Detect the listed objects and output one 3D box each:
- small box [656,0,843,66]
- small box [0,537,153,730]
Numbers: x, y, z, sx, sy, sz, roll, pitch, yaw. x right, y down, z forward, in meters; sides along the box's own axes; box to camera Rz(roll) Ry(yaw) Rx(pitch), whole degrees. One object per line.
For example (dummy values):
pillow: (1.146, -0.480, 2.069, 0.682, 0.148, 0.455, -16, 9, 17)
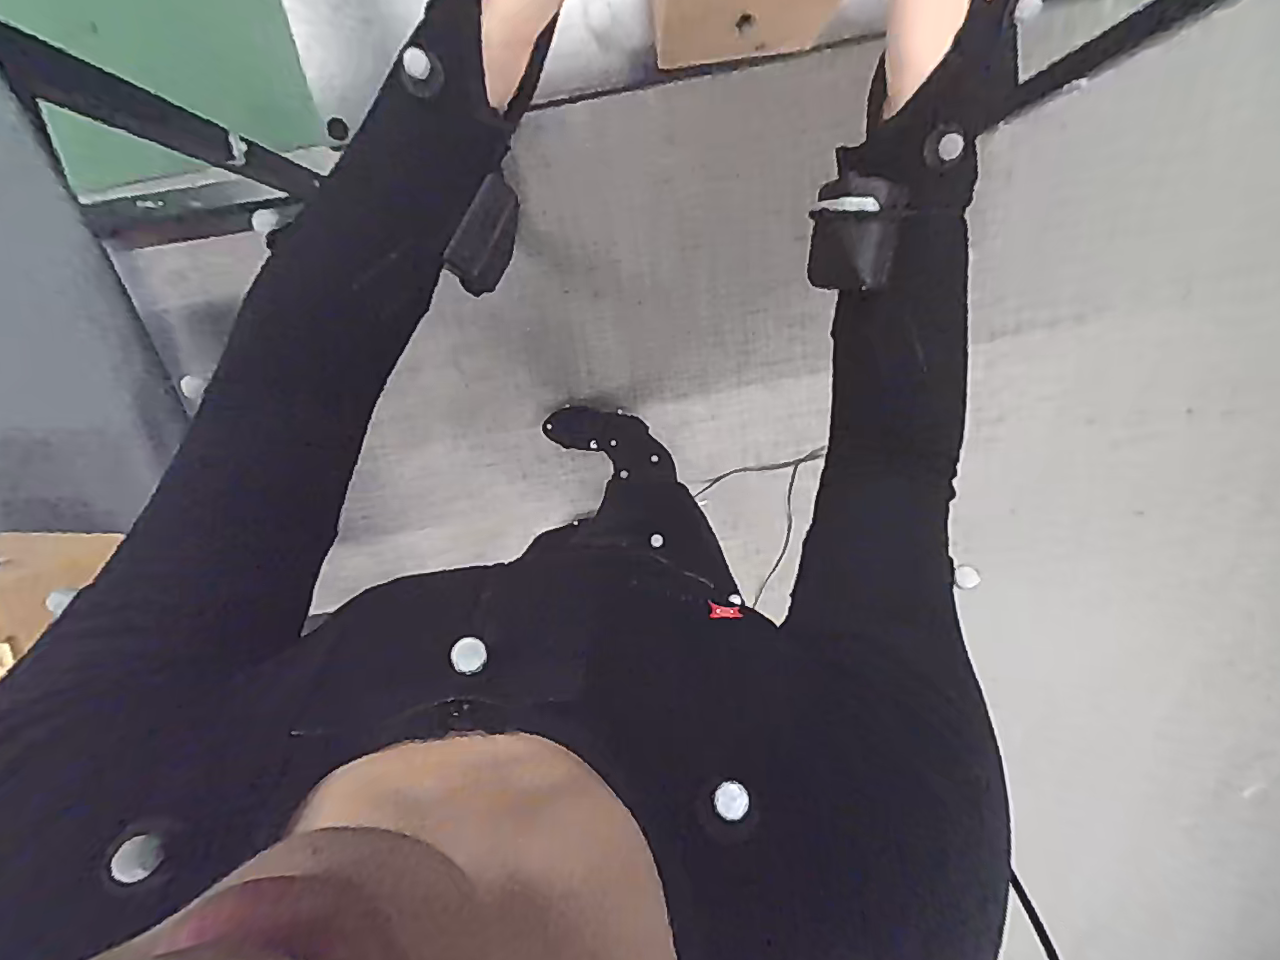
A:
small box: (0.099, -0.504, 0.480, 0.168, 0.176, 0.179, -7, 105, 0)
small box: (-0.743, 0.174, 0.651, 0.179, 0.176, 0.168, 0, 106, 0)
